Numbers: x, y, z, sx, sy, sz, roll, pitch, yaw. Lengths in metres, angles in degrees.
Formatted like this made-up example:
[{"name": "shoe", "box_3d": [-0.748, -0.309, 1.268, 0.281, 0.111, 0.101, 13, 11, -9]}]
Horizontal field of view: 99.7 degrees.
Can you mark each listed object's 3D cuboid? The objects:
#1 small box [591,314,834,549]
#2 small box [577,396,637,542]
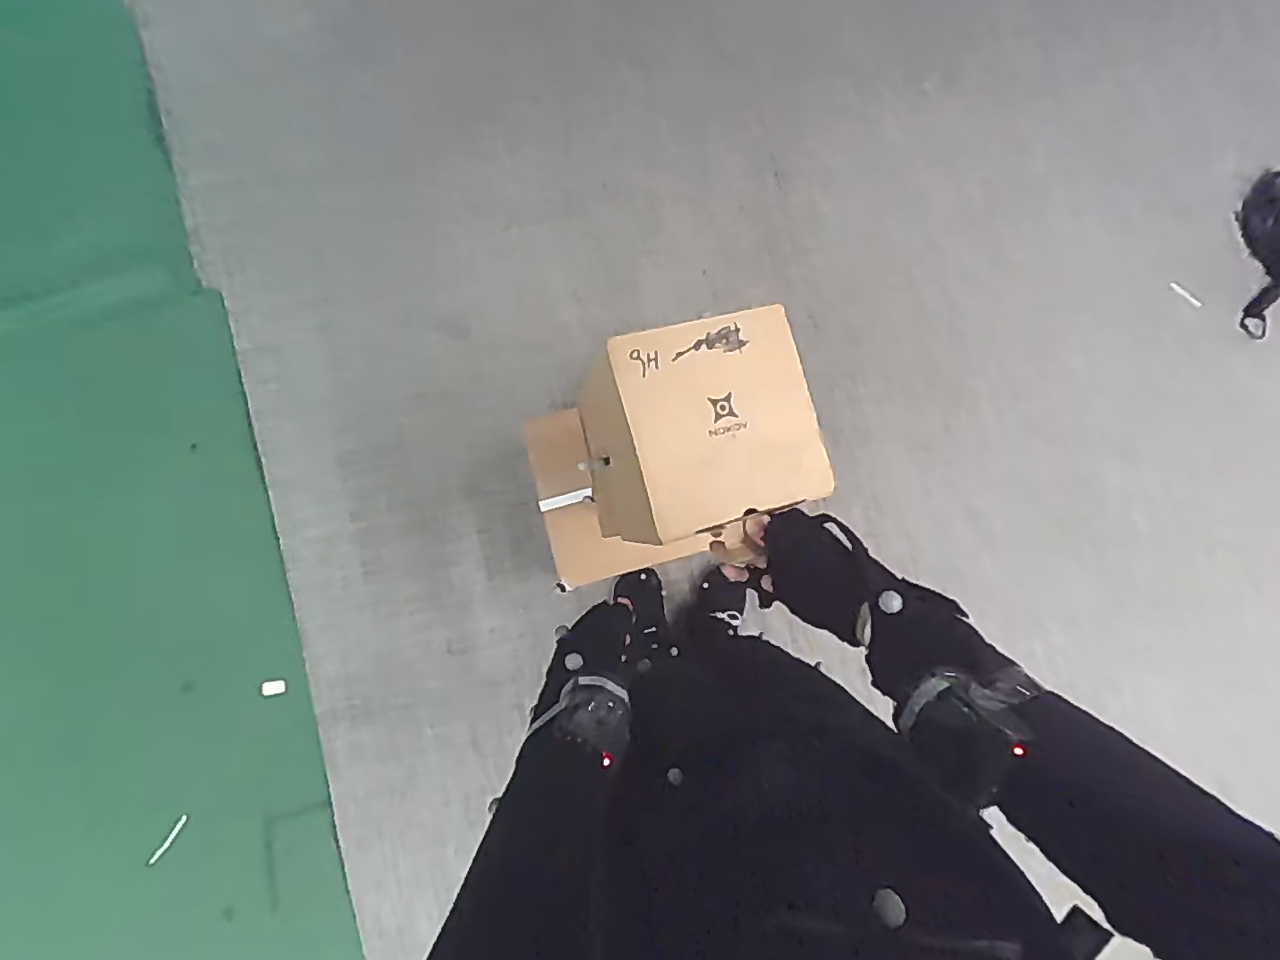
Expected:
[{"name": "small box", "box_3d": [0.057, -0.040, 0.538, 0.168, 0.176, 0.179, -15, 88, -14]}, {"name": "small box", "box_3d": [0.015, -0.028, 0.719, 0.168, 0.176, 0.179, -12, 91, -6]}]
